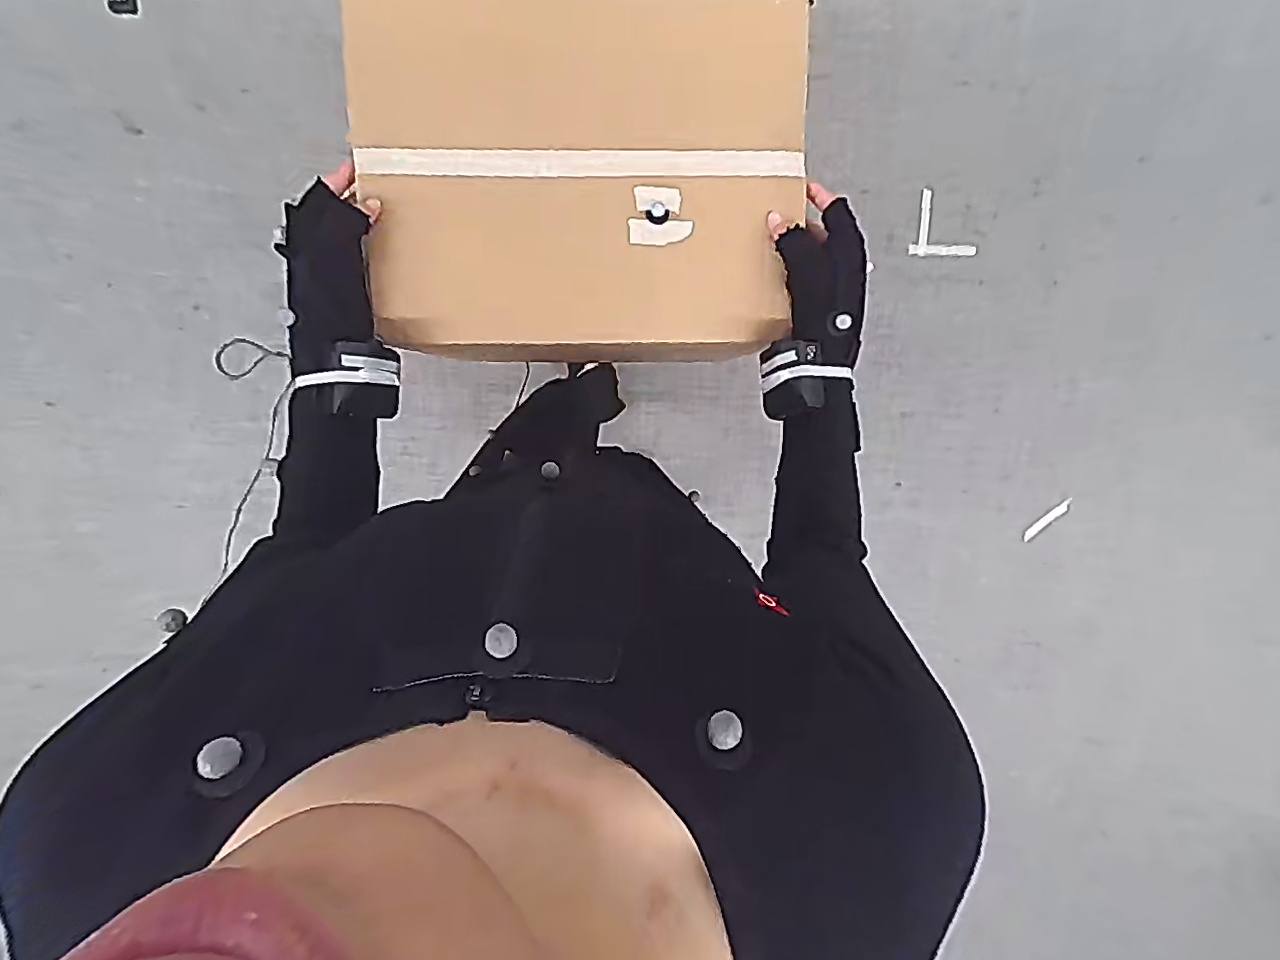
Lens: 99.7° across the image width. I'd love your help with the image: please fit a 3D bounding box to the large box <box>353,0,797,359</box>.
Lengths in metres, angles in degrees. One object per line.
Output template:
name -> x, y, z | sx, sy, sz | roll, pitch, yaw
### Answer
large box -> -0.061, -0.319, 0.649 | 0.408, 0.320, 0.320 | -1, 99, -3
